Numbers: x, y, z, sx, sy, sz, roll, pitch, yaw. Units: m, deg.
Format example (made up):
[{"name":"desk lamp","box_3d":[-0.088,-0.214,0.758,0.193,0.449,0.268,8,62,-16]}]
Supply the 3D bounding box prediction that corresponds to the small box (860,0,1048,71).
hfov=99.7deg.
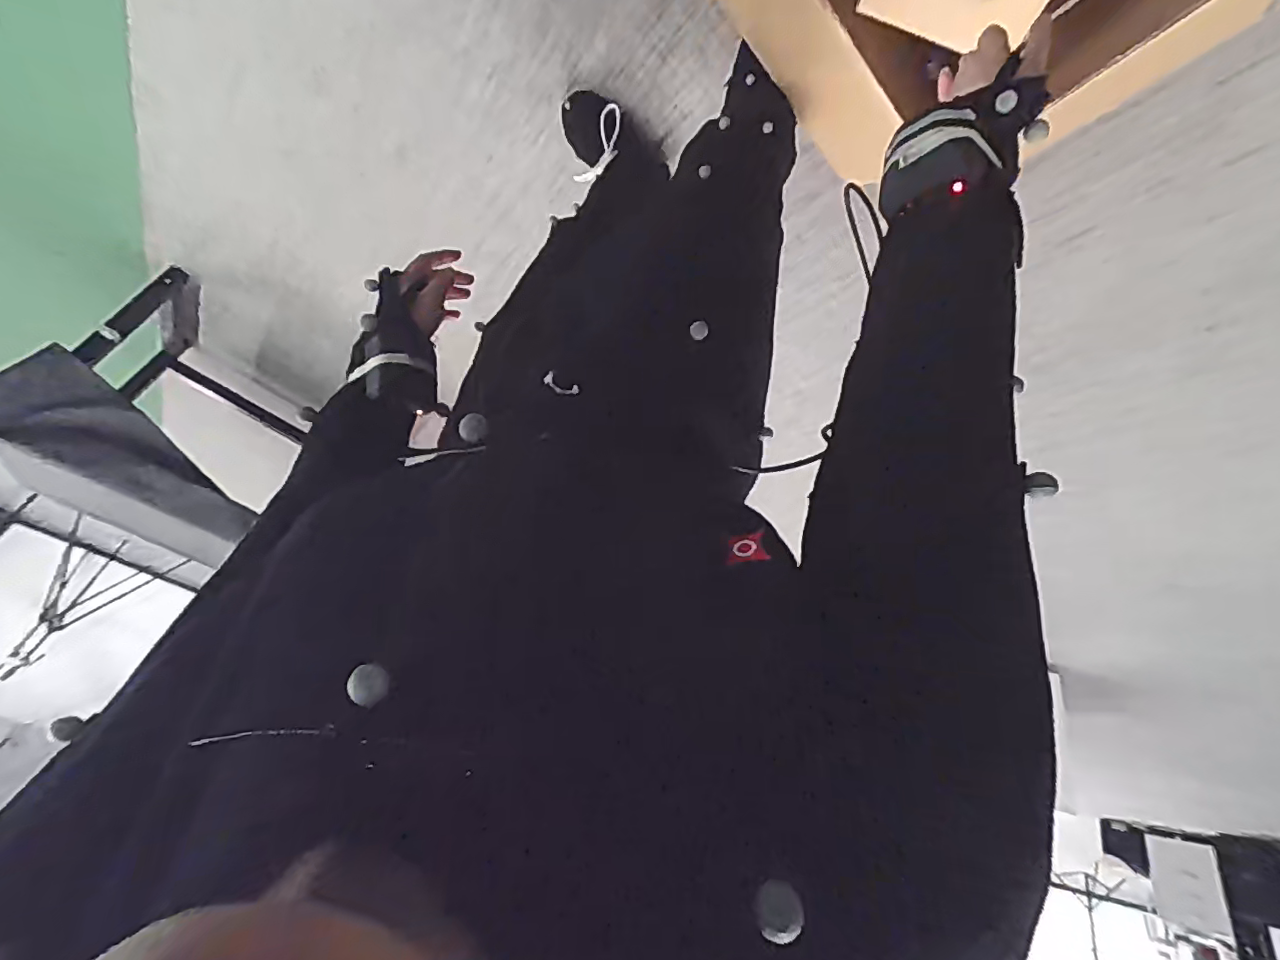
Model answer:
[{"name":"small box","box_3d":[0.337,-0.560,0.530,0.168,0.176,0.179,20,148,-3]}]
